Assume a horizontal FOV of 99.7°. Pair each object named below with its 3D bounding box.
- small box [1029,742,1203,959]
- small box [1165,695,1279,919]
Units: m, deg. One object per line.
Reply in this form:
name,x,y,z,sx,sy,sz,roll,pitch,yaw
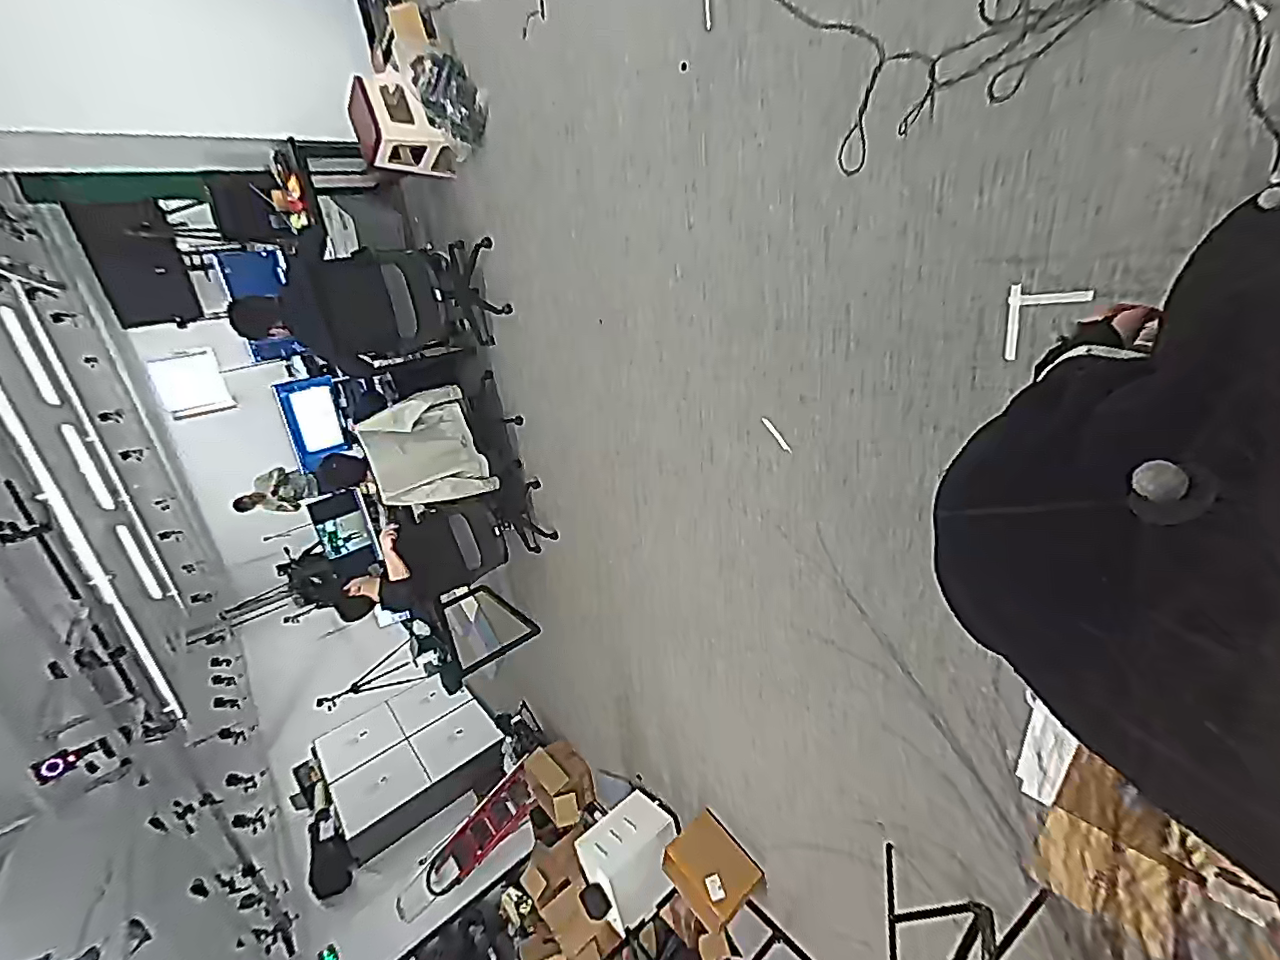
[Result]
small box,0.728,0.549,0.820,0.168,0.176,0.179,20,123,45
small box,0.786,0.402,0.653,0.168,0.176,0.179,24,127,45
